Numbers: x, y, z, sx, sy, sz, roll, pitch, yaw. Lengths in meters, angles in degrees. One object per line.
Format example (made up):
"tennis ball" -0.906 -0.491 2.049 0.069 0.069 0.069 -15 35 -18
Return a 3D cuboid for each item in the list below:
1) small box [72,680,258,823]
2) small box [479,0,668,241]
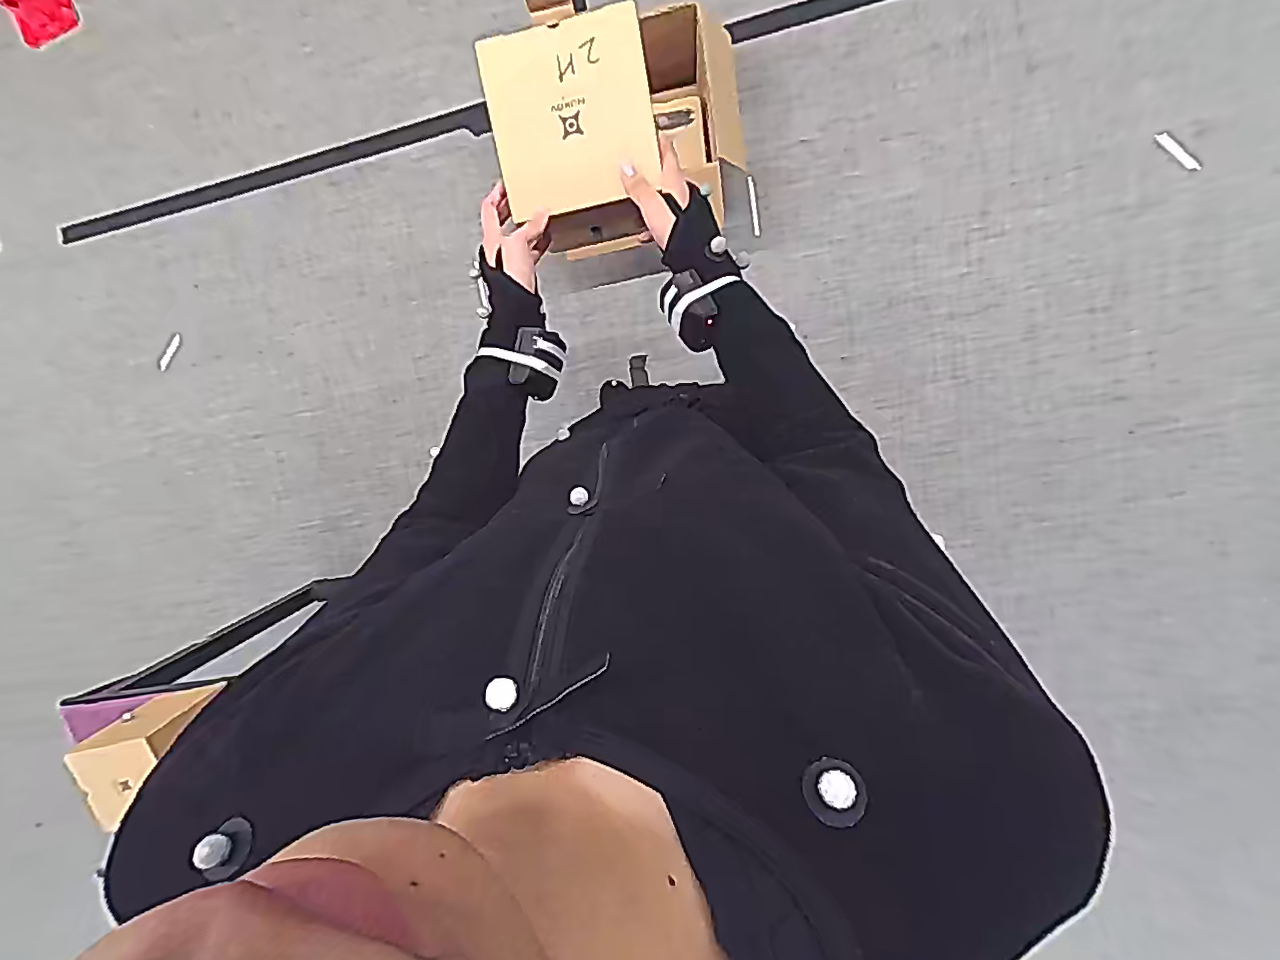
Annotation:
"small box" -0.883 0.506 1.023 0.179 0.176 0.168 -14 102 10
"small box" -0.060 -0.386 0.619 0.168 0.176 0.179 -9 102 6
